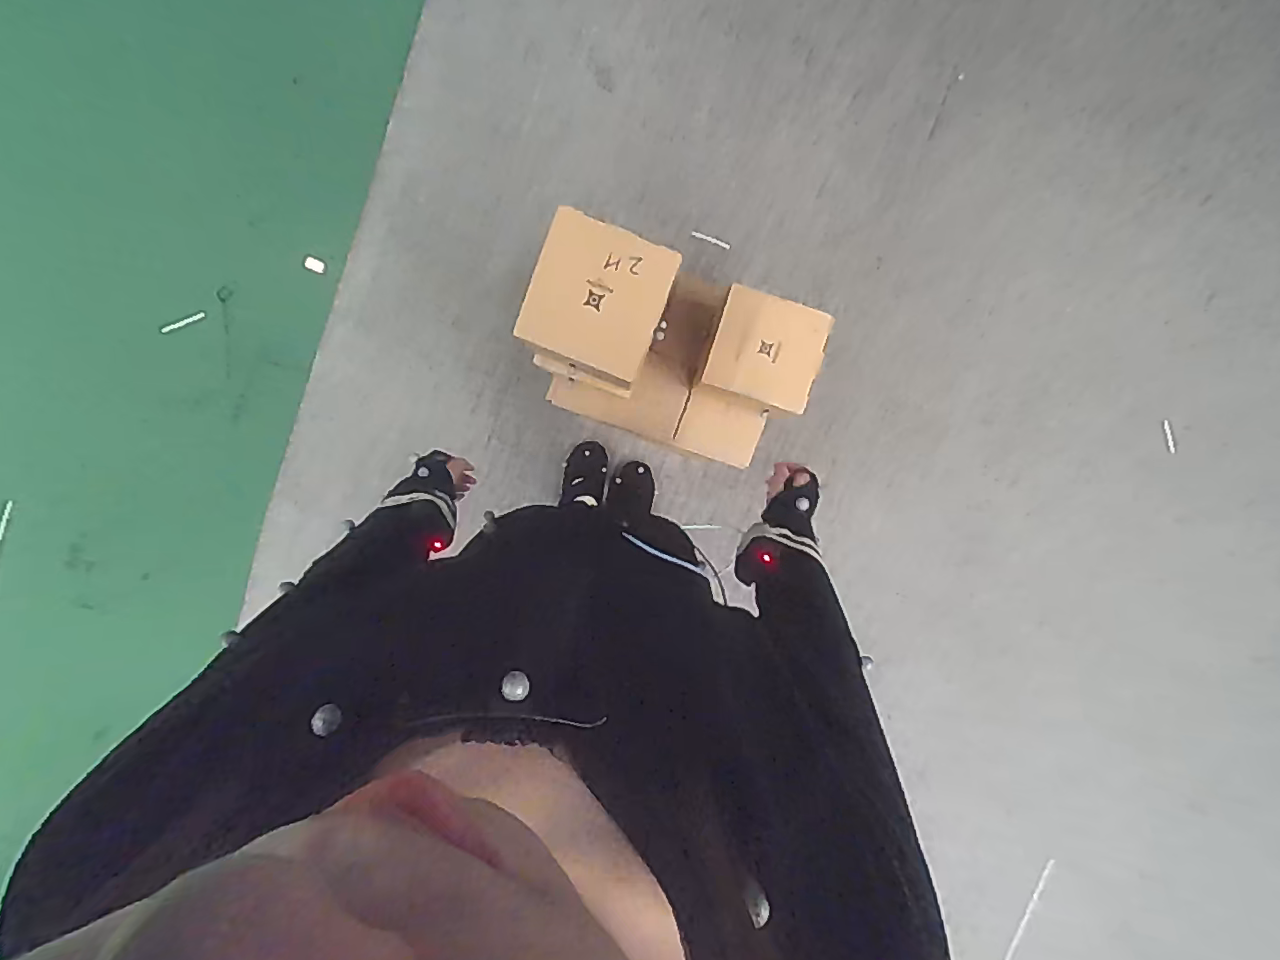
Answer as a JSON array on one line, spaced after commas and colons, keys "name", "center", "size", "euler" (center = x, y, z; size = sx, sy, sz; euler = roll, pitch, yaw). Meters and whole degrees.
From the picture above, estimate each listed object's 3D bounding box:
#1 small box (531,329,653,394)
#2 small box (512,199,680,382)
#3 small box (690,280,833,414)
[{"name": "small box", "center": [-0.069, -0.255, 0.924], "size": [0.168, 0.176, 0.179], "euler": [21, 96, -5]}, {"name": "small box", "center": [-0.058, -0.247, 0.759], "size": [0.168, 0.176, 0.179], "euler": [22, 95, -6]}, {"name": "small box", "center": [0.199, -0.220, 0.938], "size": [0.179, 0.176, 0.168], "euler": [19, 94, -2]}]
